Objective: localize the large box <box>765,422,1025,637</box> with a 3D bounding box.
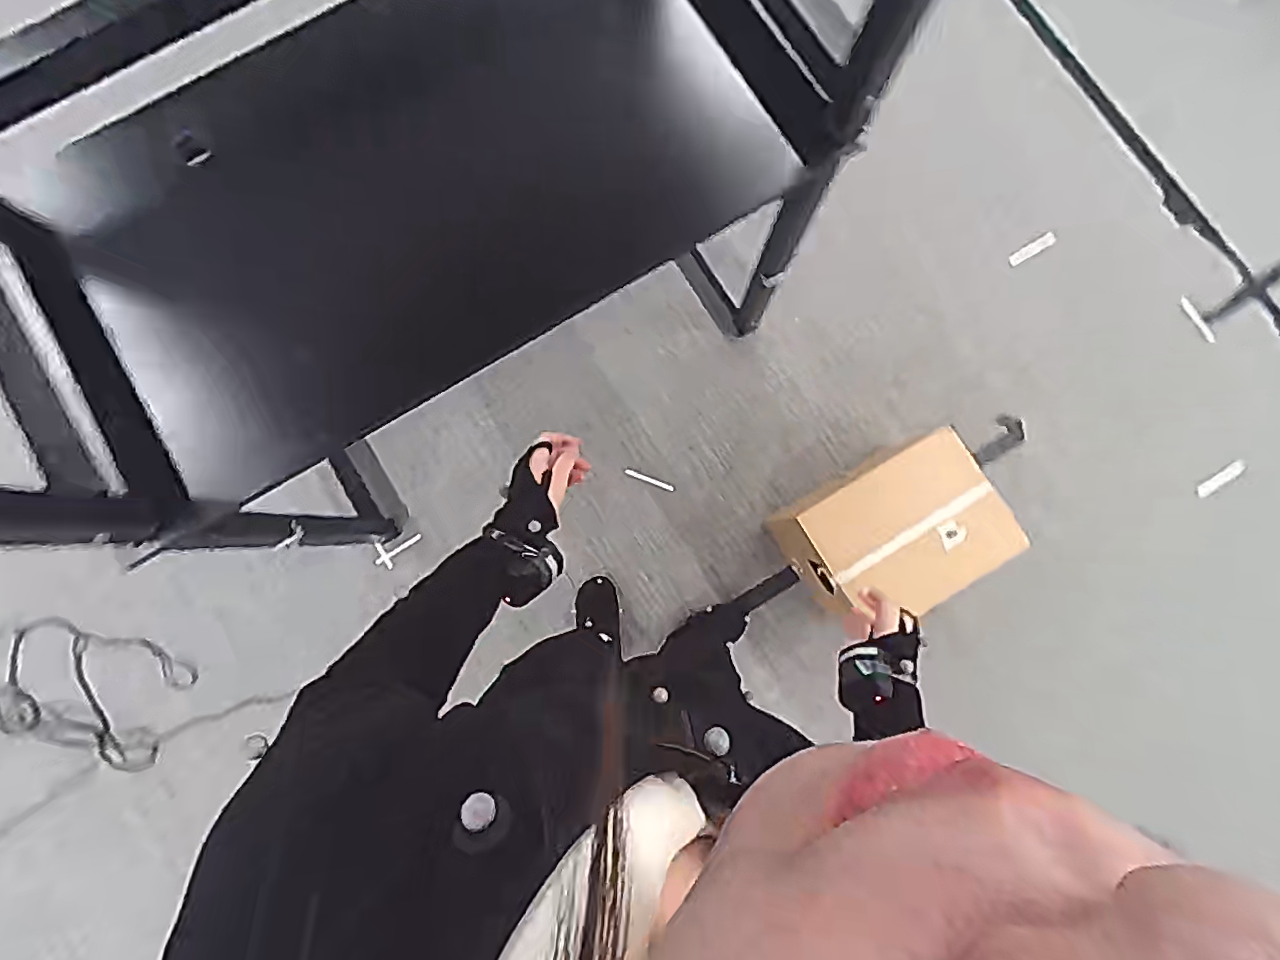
[{"bbox_3d":[0.578,0.120,1.304,0.408,0.320,0.320,-31,86,-4],"label":"large box"}]
